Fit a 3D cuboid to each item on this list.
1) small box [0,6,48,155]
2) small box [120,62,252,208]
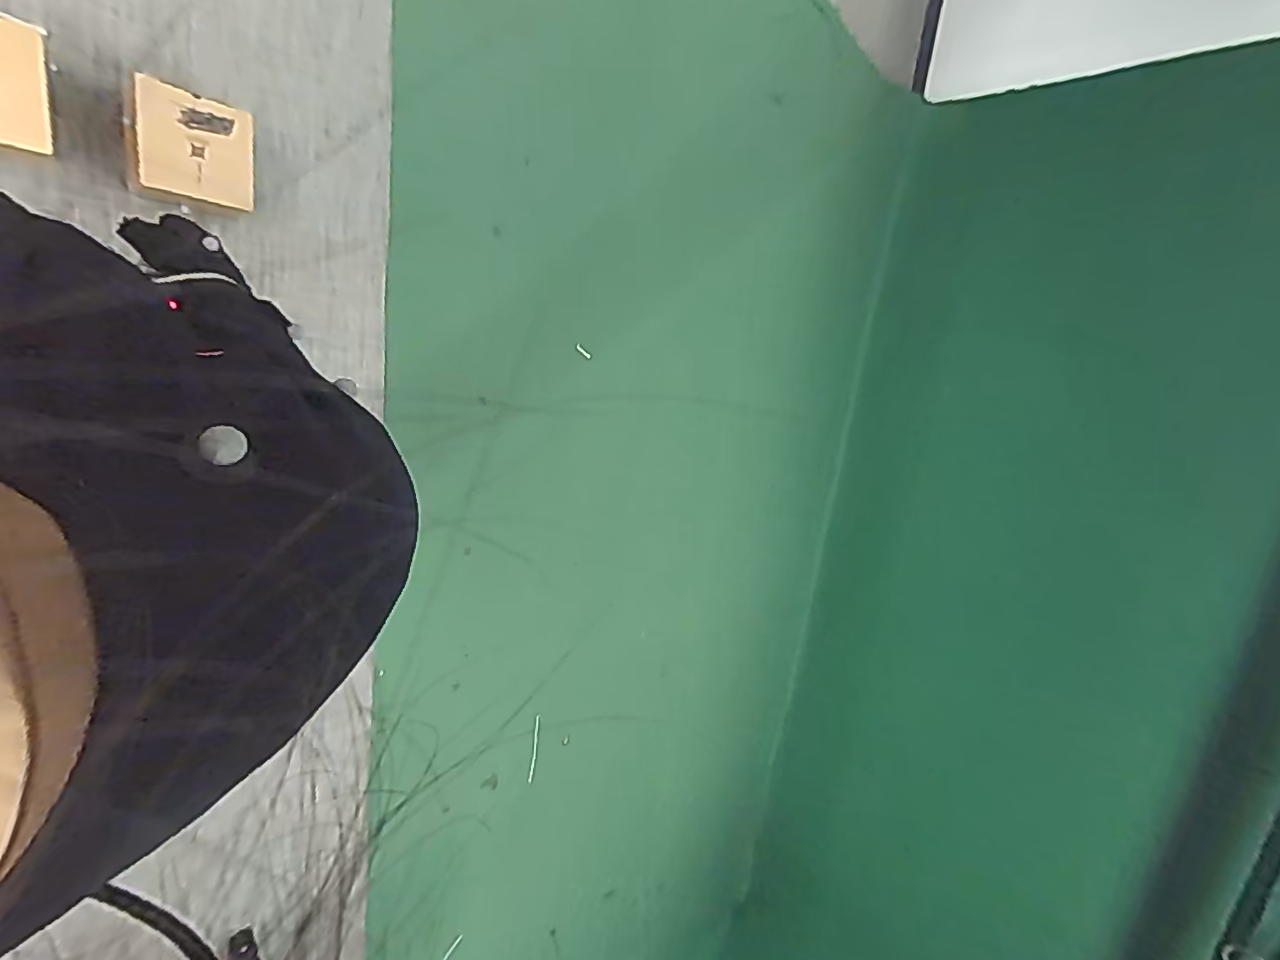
[{"bbox_3d":[-1.025,-0.618,0.818,0.168,0.176,0.179,-7,109,-48],"label":"small box"},{"bbox_3d":[-0.850,-0.629,1.014,0.168,0.176,0.179,-6,110,-48],"label":"small box"}]
